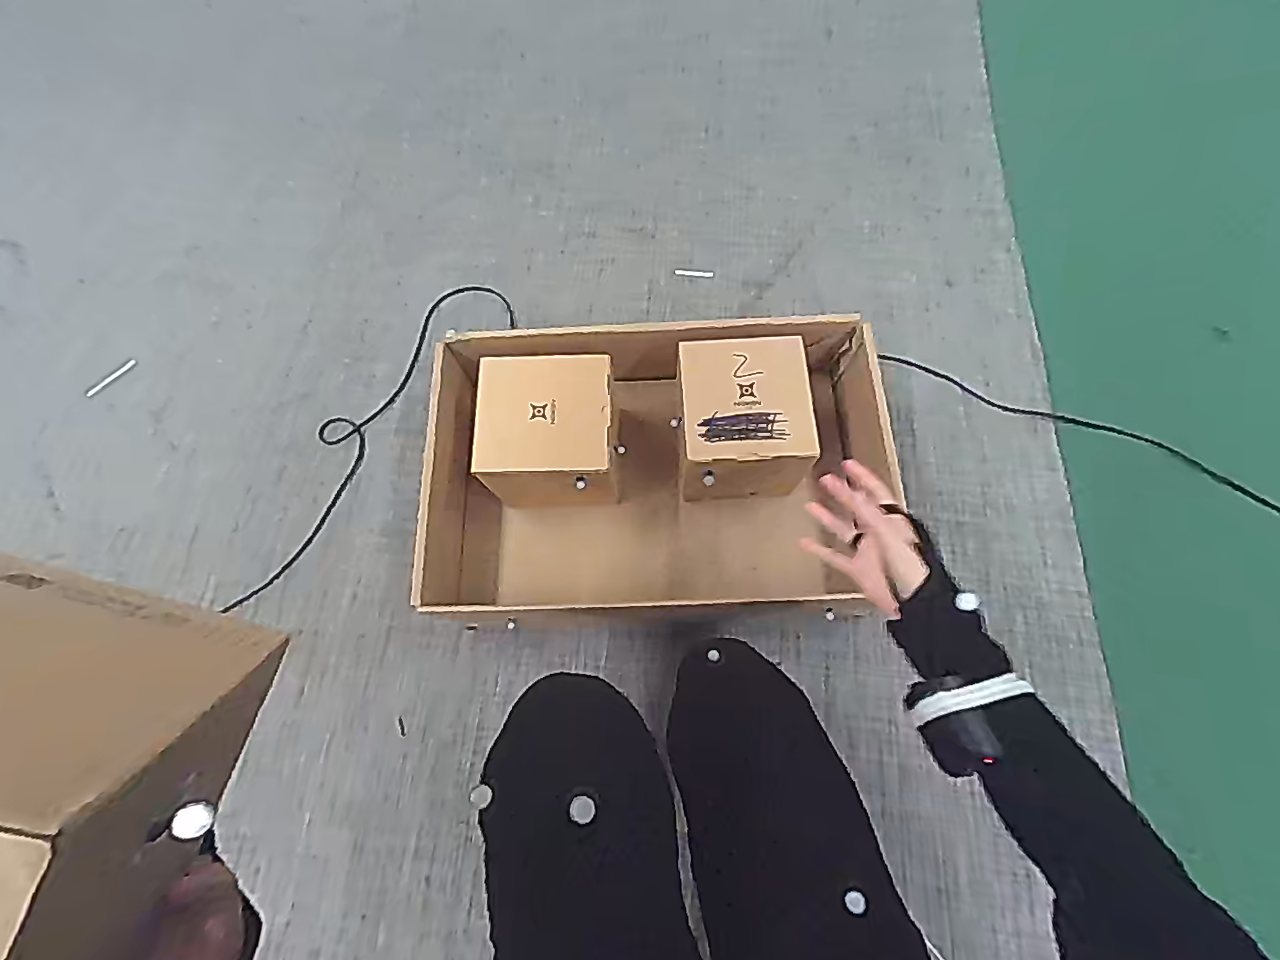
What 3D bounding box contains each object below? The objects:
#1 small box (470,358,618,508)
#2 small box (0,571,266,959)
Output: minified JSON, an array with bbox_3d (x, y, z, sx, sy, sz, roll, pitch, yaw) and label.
[{"bbox_3d":[-0.125,-0.059,0.775,0.179,0.176,0.168,-1,72,0],"label":"small box"},{"bbox_3d":[-0.272,0.141,0.189,0.168,0.176,0.179,23,86,-15],"label":"small box"}]
